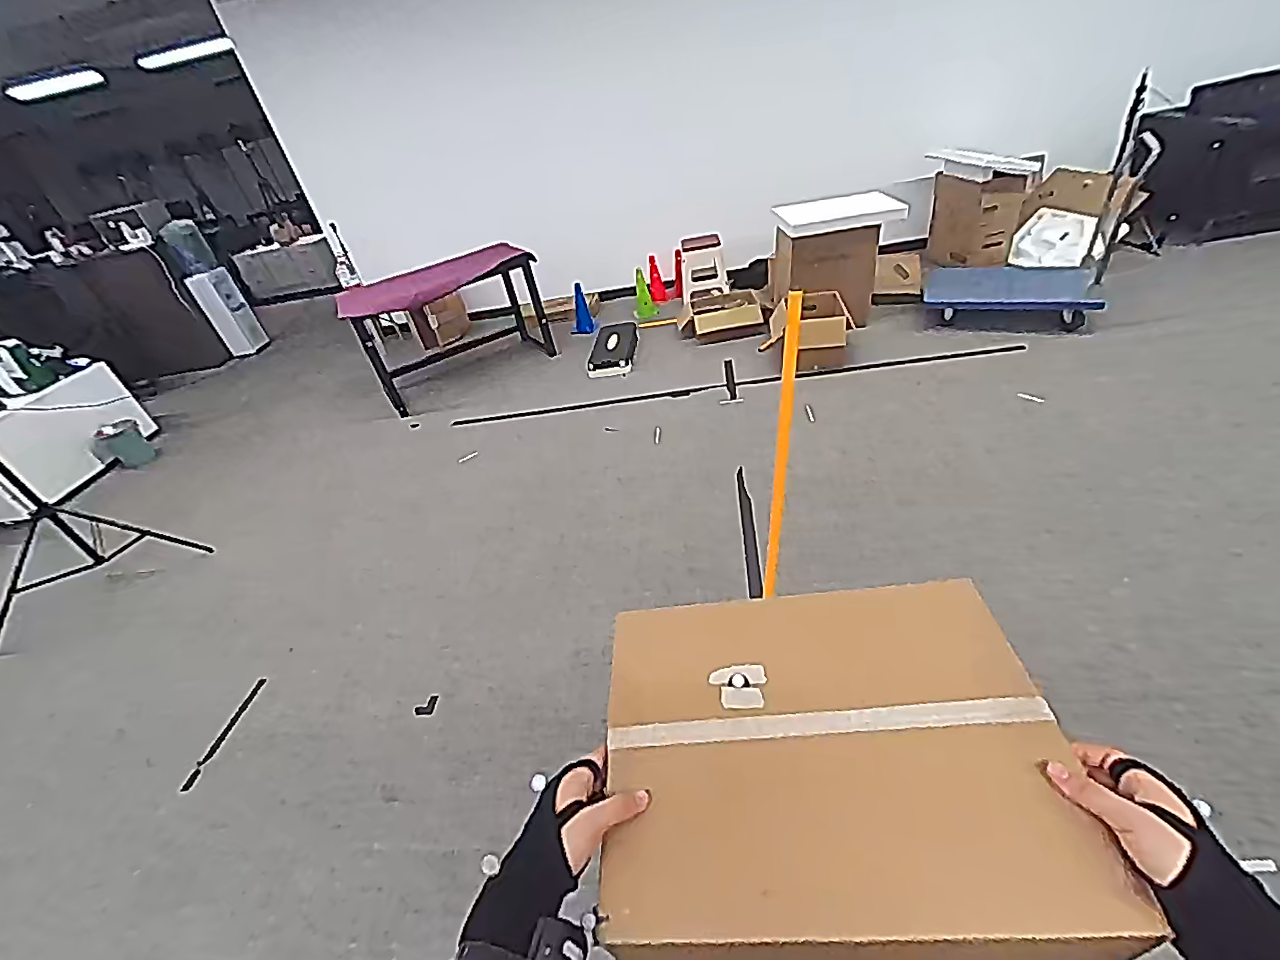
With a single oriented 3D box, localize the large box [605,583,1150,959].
[{"bbox_3d":[0.200,0.355,0.609,0.408,0.320,0.320,-9,37,9],"label":"large box"}]
